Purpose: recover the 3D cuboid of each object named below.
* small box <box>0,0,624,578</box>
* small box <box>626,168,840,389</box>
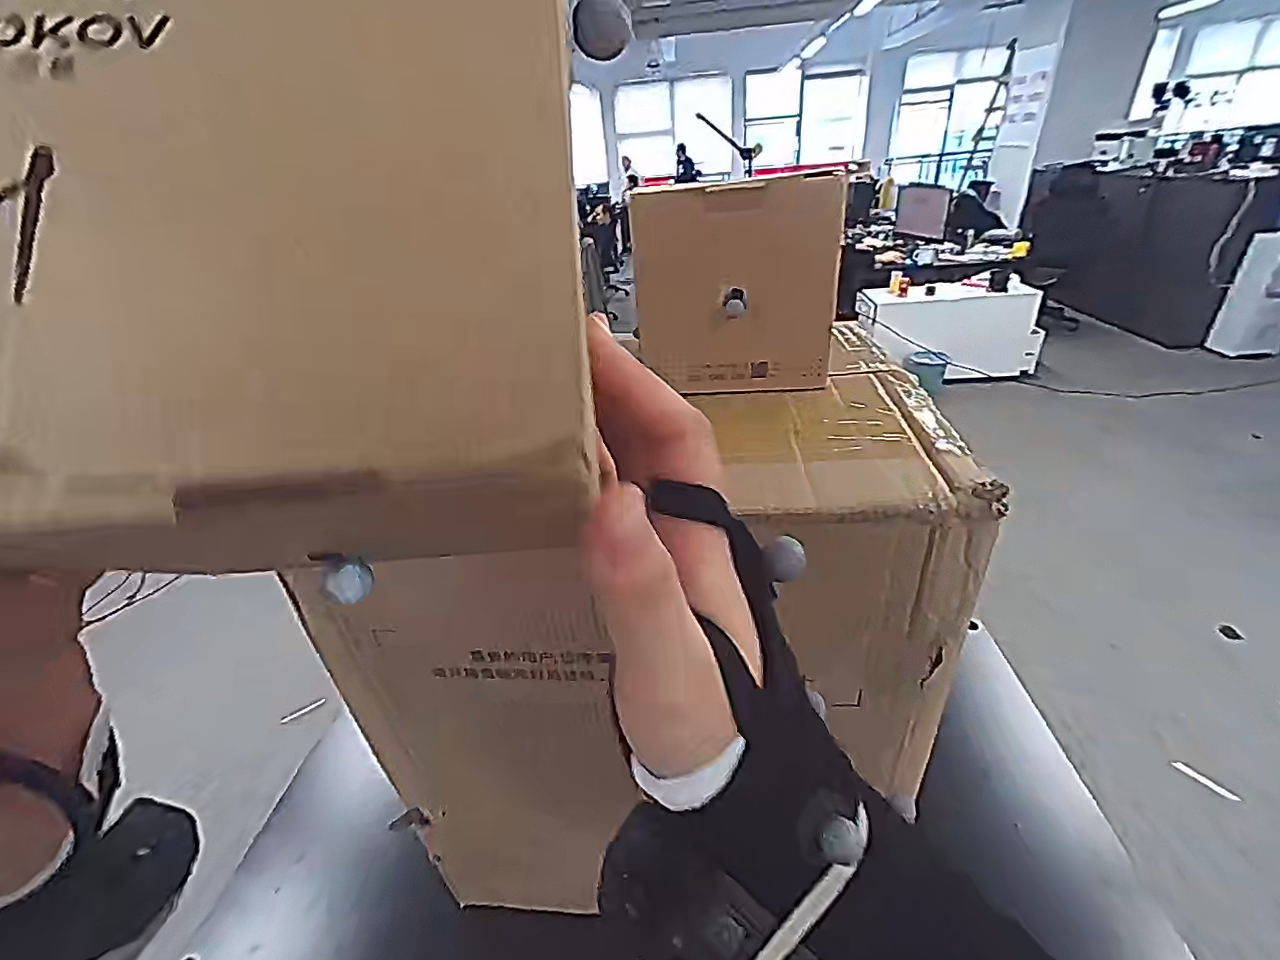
[{"bbox_3d":[-0.095,-0.063,0.166,0.168,0.179,0.176,-4,-9,-4],"label":"small box"},{"bbox_3d":[0.085,-0.191,0.518,0.168,0.176,0.179,-1,30,7],"label":"small box"}]
